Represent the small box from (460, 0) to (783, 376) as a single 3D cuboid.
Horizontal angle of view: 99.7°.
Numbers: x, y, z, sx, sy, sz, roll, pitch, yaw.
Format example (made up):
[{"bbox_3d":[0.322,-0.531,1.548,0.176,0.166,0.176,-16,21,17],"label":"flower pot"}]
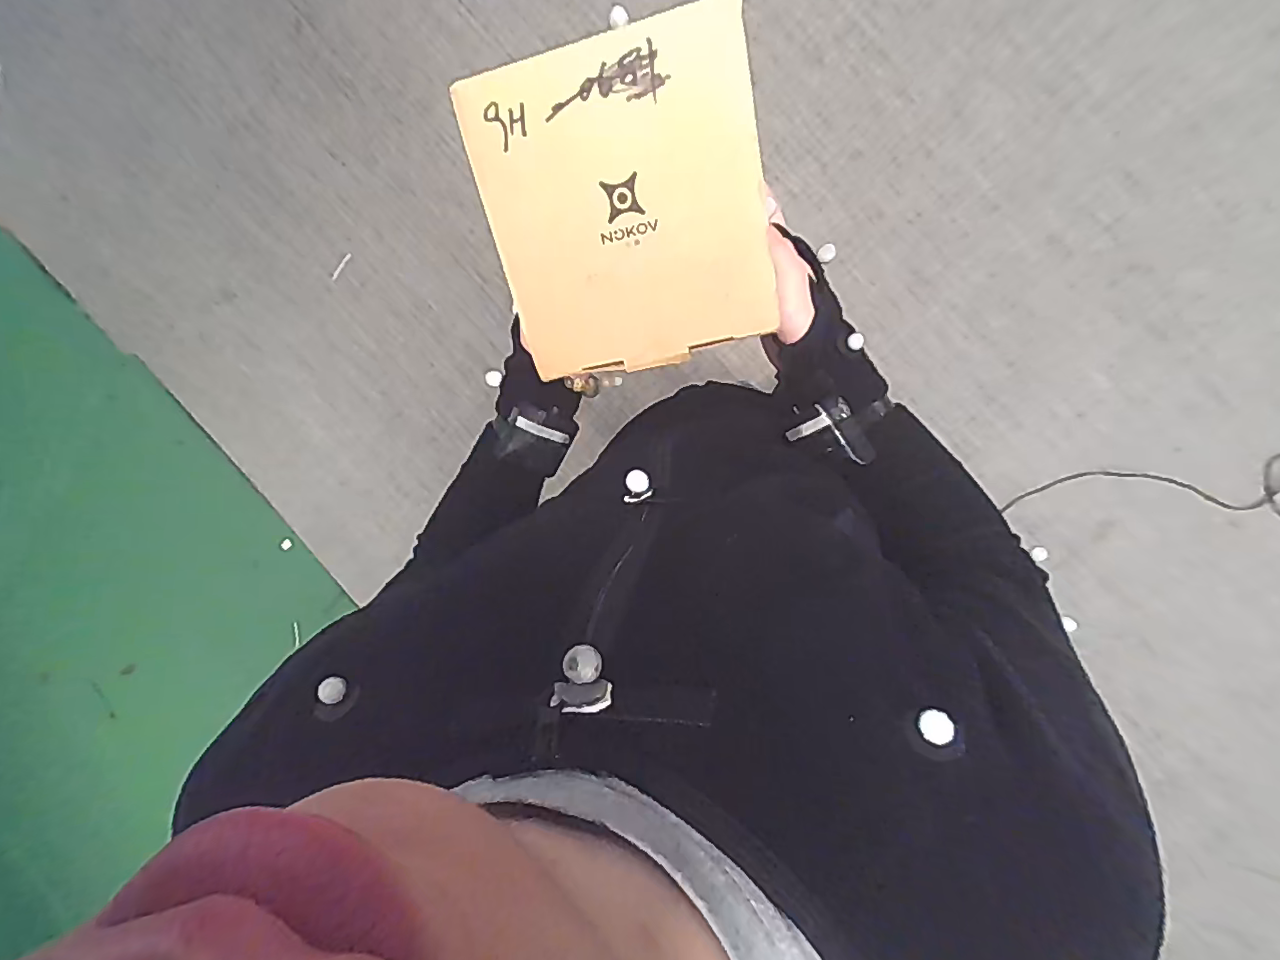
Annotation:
[{"bbox_3d":[0.004,-0.195,0.394,0.168,0.176,0.179,-10,115,10],"label":"small box"}]
